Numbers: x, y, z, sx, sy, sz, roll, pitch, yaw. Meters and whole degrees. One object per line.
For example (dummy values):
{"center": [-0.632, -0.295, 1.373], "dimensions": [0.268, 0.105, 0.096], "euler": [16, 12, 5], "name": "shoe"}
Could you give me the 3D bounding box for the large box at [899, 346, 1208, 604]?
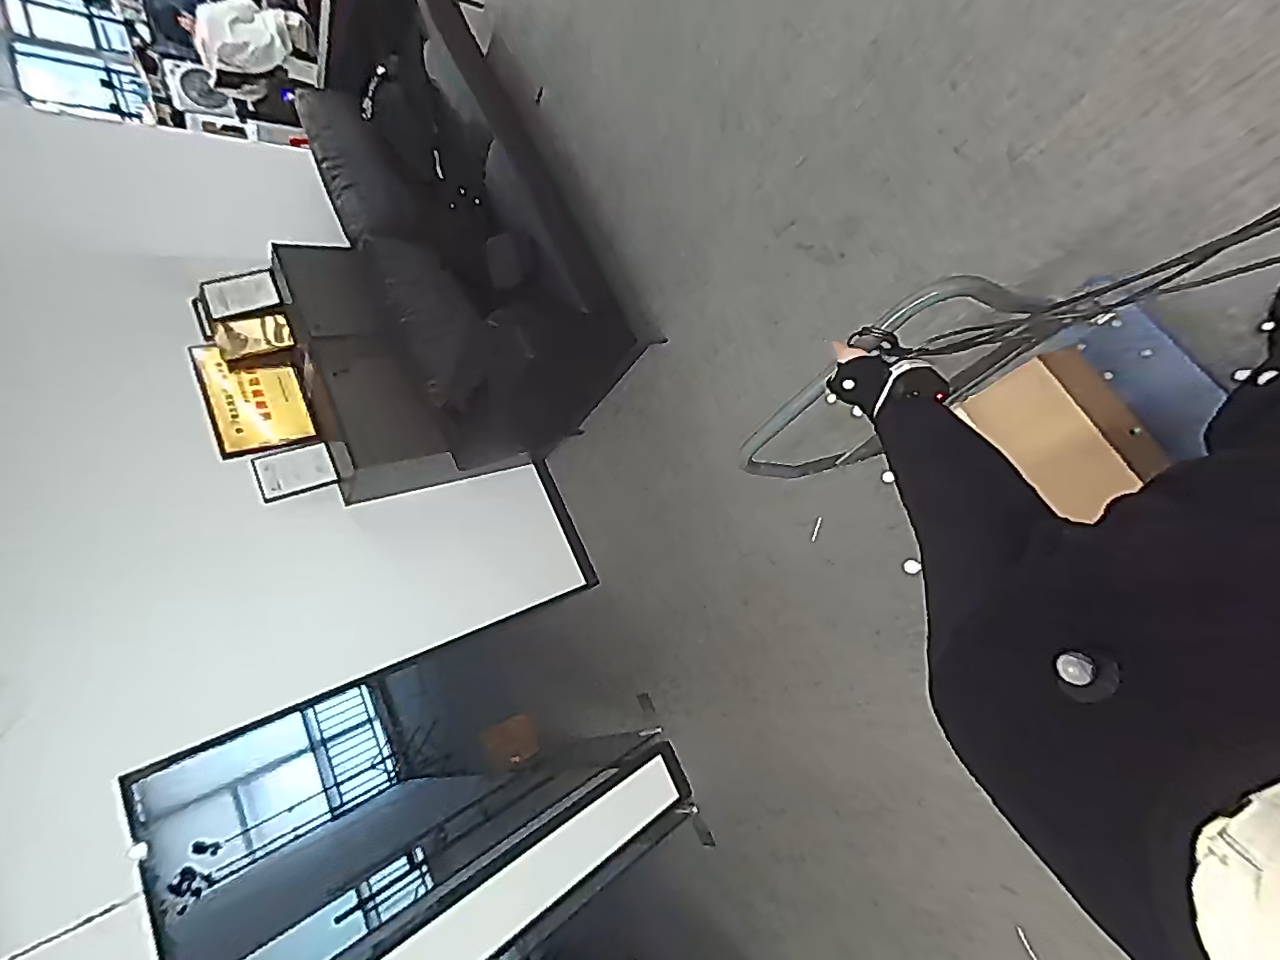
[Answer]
{"center": [0.838, -0.023, 1.116], "dimensions": [0.320, 0.320, 0.408], "euler": [-46, 68, 46], "name": "large box"}
